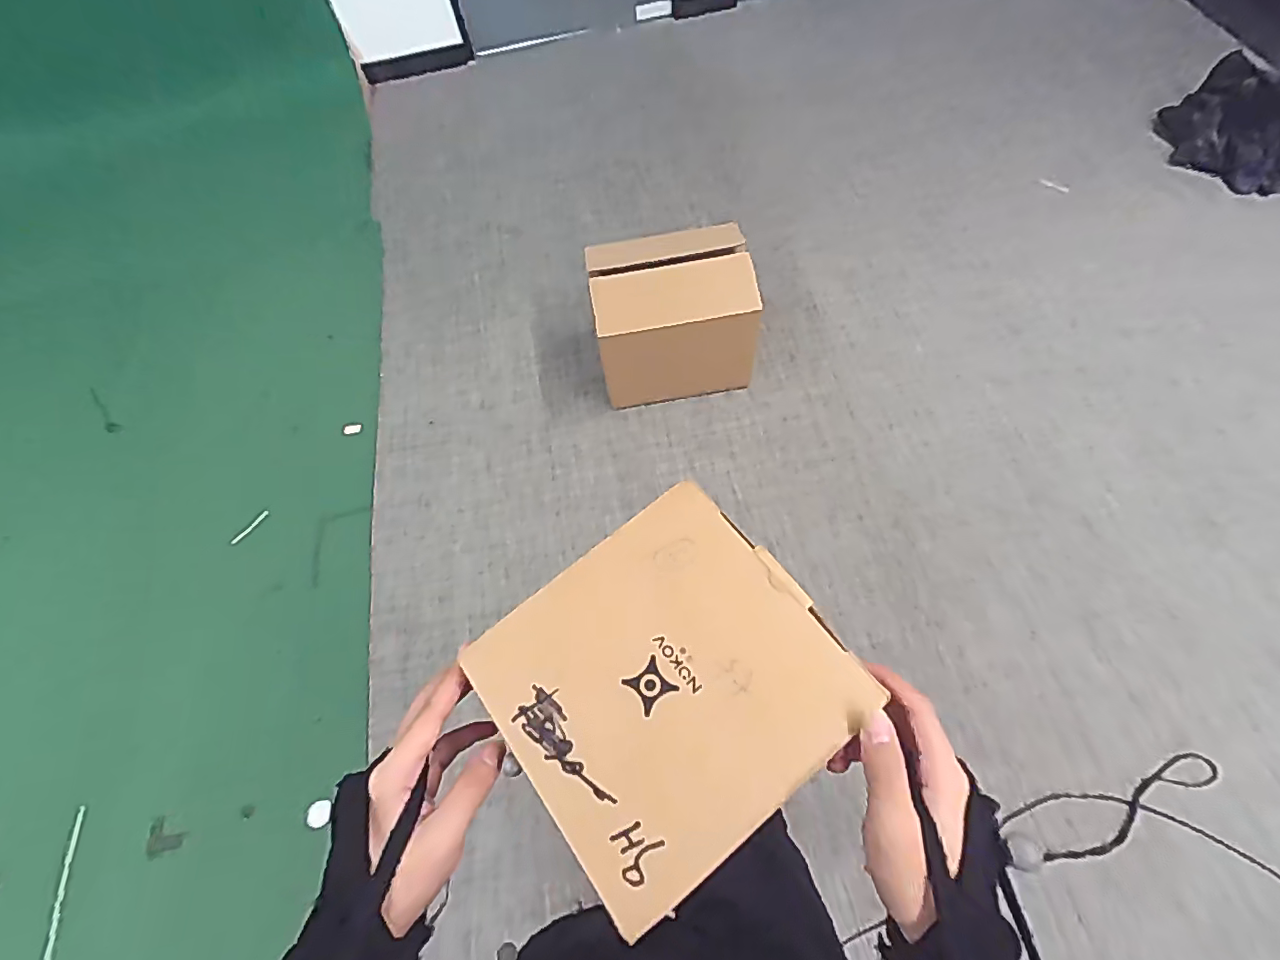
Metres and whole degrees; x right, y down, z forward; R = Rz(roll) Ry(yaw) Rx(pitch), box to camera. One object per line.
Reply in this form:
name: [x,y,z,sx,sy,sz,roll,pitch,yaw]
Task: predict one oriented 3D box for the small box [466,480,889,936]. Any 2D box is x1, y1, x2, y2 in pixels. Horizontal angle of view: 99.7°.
small box: [0.021,0.136,0.367,0.179,0.176,0.168,-37,69,-10]
